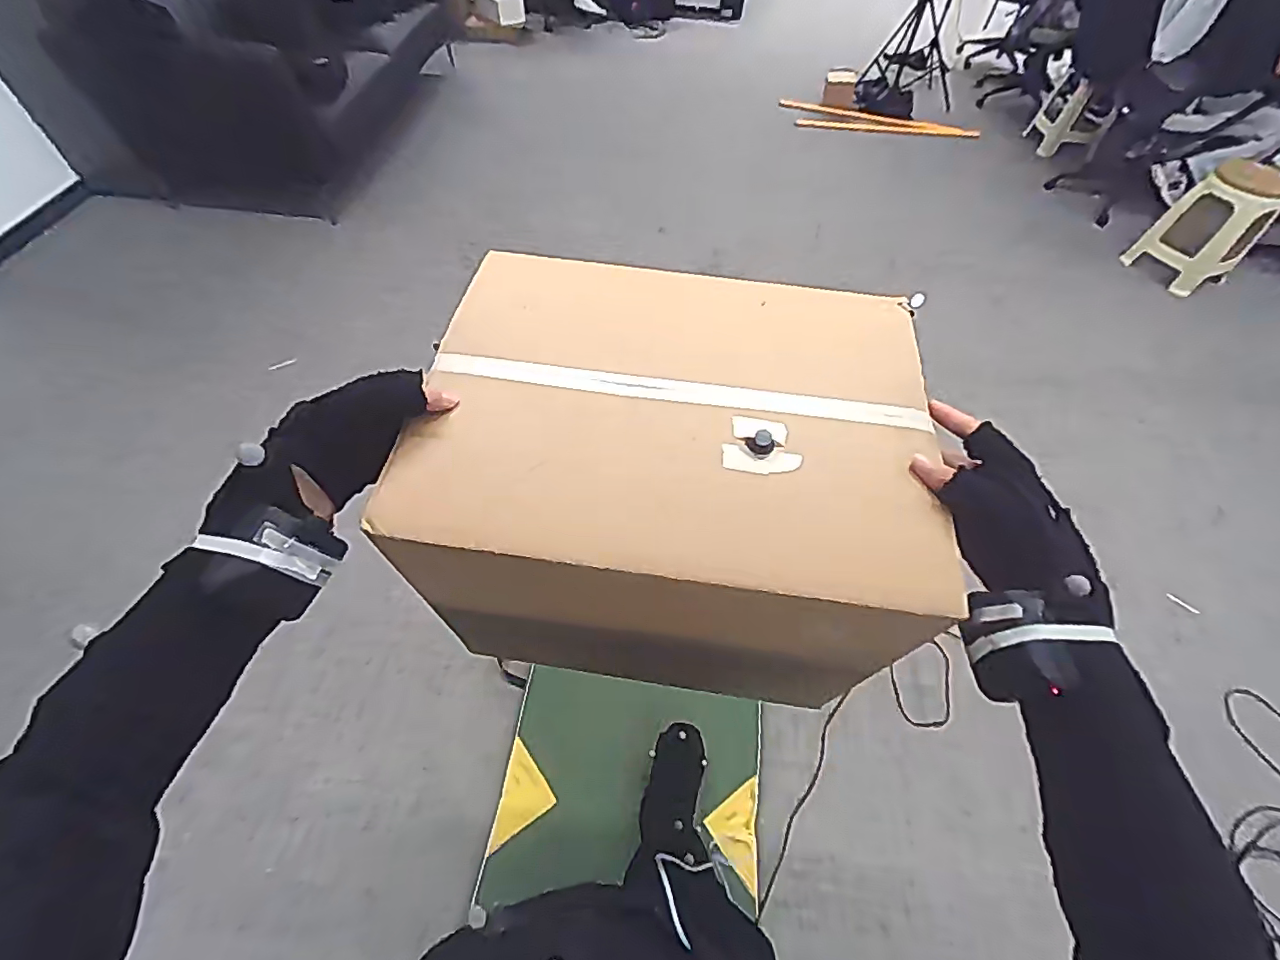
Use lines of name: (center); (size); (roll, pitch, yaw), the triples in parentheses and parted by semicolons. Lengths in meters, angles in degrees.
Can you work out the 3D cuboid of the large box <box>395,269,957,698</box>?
large box: (0.031, 0.018, 0.578); (0.408, 0.320, 0.320); (8, 57, 2)
